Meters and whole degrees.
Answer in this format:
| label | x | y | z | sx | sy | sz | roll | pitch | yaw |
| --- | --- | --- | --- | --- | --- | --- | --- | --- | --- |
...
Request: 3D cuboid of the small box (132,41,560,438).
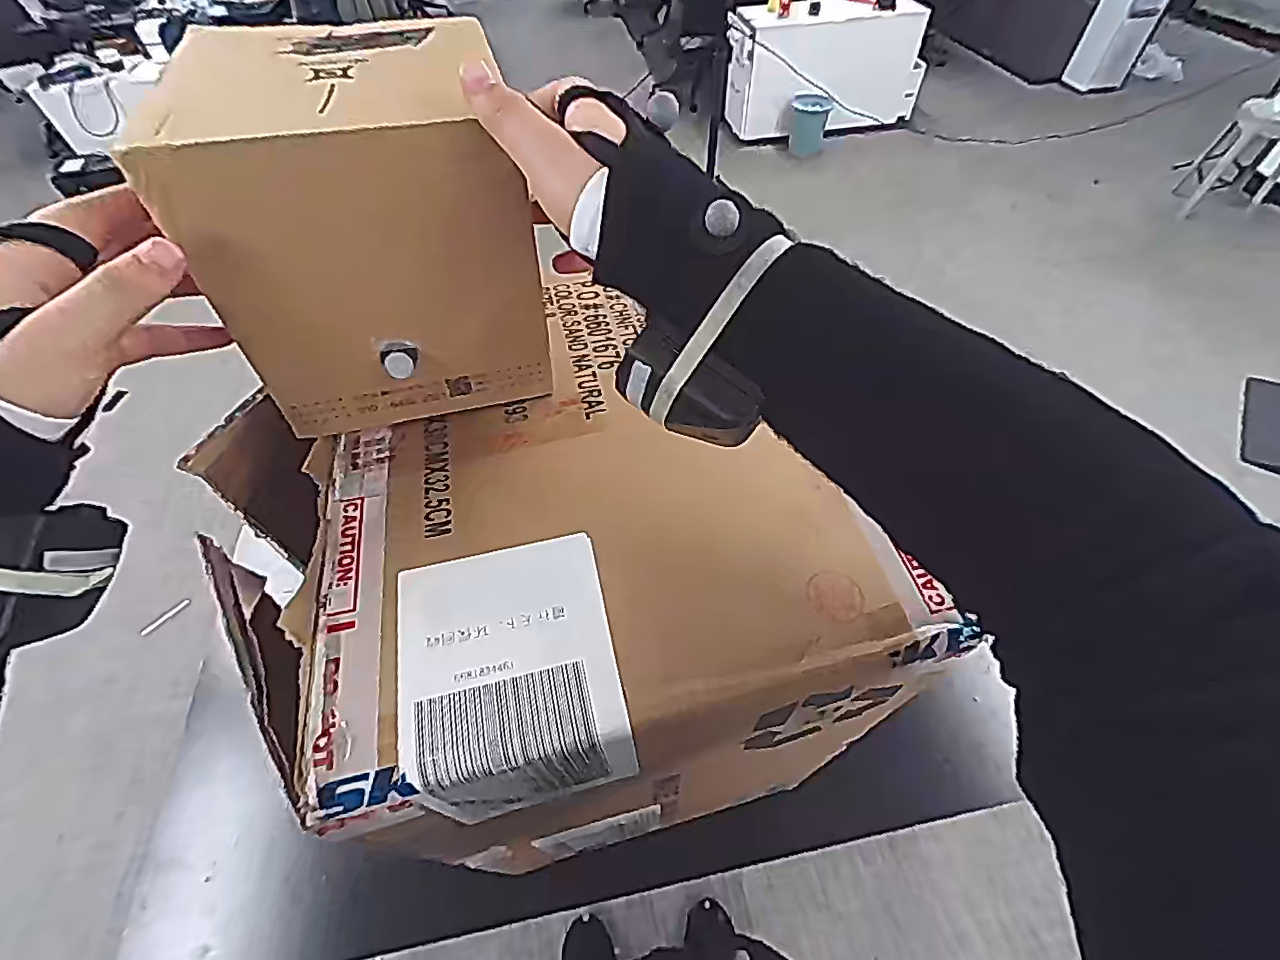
| label | x | y | z | sx | sy | sz | roll | pitch | yaw |
| --- | --- | --- | --- | --- | --- | --- | --- | --- | --- |
| small box | -0.152 | -0.154 | 0.347 | 0.168 | 0.176 | 0.179 | -12 | 52 | -11 |
